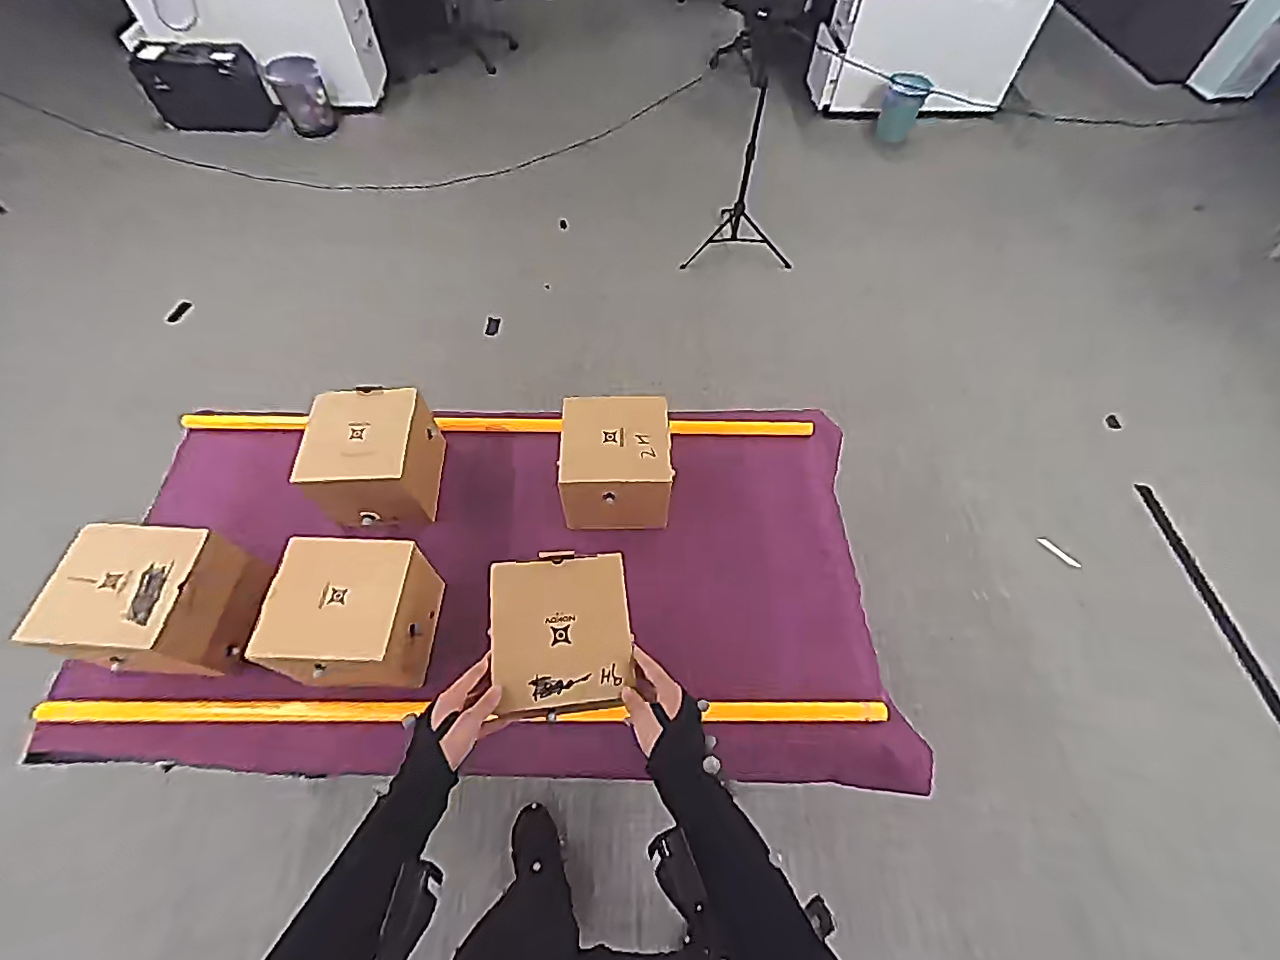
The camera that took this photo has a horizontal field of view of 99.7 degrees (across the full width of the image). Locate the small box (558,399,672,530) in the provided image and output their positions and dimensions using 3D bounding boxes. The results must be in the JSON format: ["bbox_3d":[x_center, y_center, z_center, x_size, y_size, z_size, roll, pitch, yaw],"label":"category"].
[{"bbox_3d":[-0.039,-0.022,0.923,0.179,0.176,0.168,0,60,-2],"label":"small box"}]

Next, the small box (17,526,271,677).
[{"bbox_3d":[-0.681,0.180,0.775,0.179,0.176,0.168,3,59,0],"label":"small box"}]

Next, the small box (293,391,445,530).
[{"bbox_3d":[-0.441,-0.031,0.916,0.168,0.176,0.179,-3,60,-3],"label":"small box"}]

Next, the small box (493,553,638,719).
[{"bbox_3d":[-0.099,0.210,0.716,0.168,0.176,0.179,-4,64,-7],"label":"small box"}]

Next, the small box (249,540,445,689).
[{"bbox_3d":[-0.399,0.198,0.778,0.179,0.176,0.168,1,58,0],"label":"small box"}]
